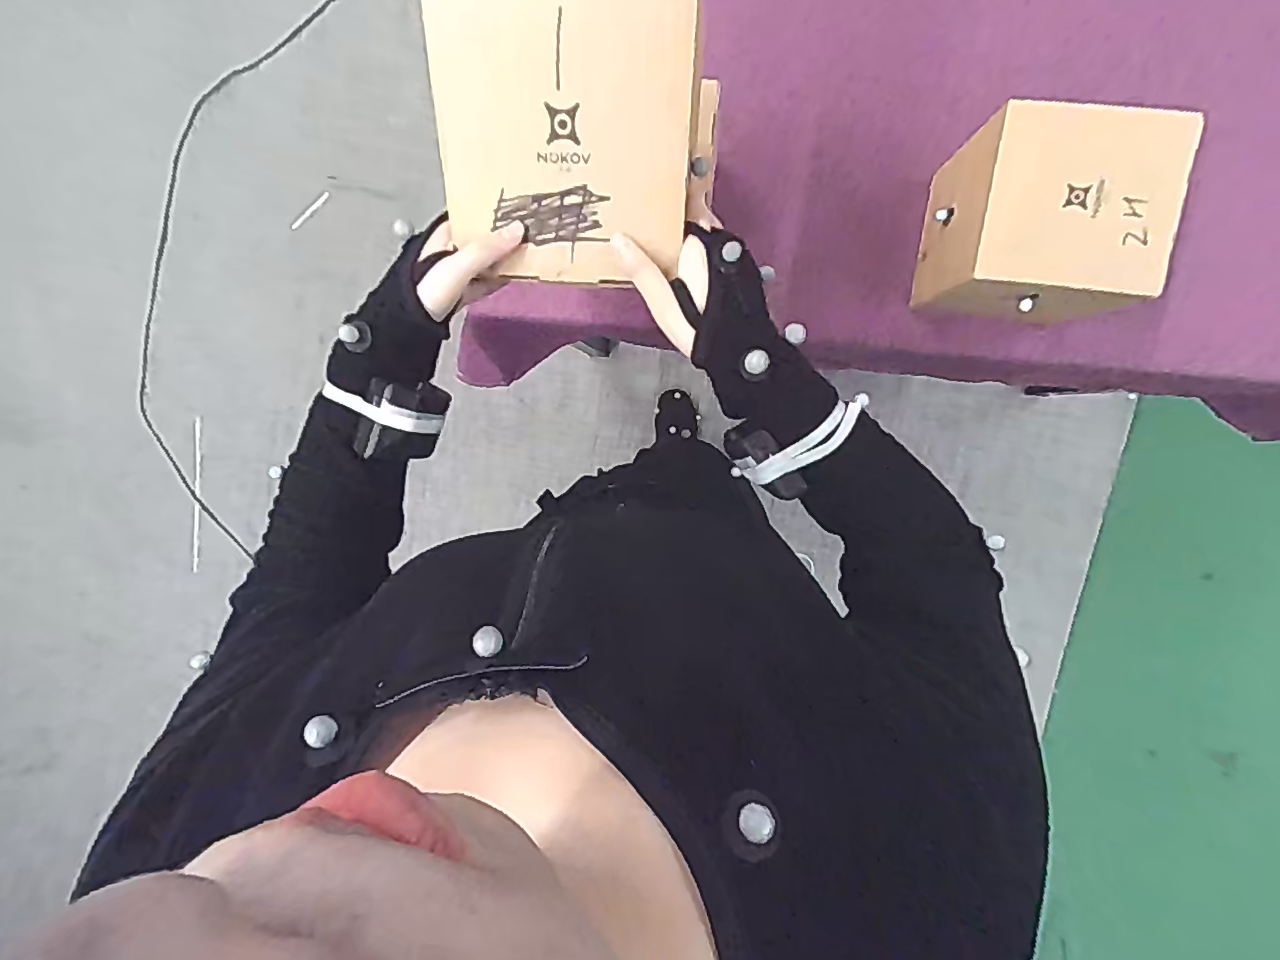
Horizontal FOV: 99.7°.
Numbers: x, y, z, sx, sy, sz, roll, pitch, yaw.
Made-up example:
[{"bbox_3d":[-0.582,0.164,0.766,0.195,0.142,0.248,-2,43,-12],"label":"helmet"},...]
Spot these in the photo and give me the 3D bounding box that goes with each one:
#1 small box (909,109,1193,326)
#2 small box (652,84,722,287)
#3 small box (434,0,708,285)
[{"bbox_3d":[0.428,-0.274,0.601,0.179,0.176,0.168,9,99,4],"label":"small box"},{"bbox_3d":[-0.006,-0.334,0.635,0.179,0.176,0.168,7,98,4],"label":"small box"},{"bbox_3d":[-0.037,-0.260,0.421,0.168,0.176,0.179,5,118,4],"label":"small box"}]
